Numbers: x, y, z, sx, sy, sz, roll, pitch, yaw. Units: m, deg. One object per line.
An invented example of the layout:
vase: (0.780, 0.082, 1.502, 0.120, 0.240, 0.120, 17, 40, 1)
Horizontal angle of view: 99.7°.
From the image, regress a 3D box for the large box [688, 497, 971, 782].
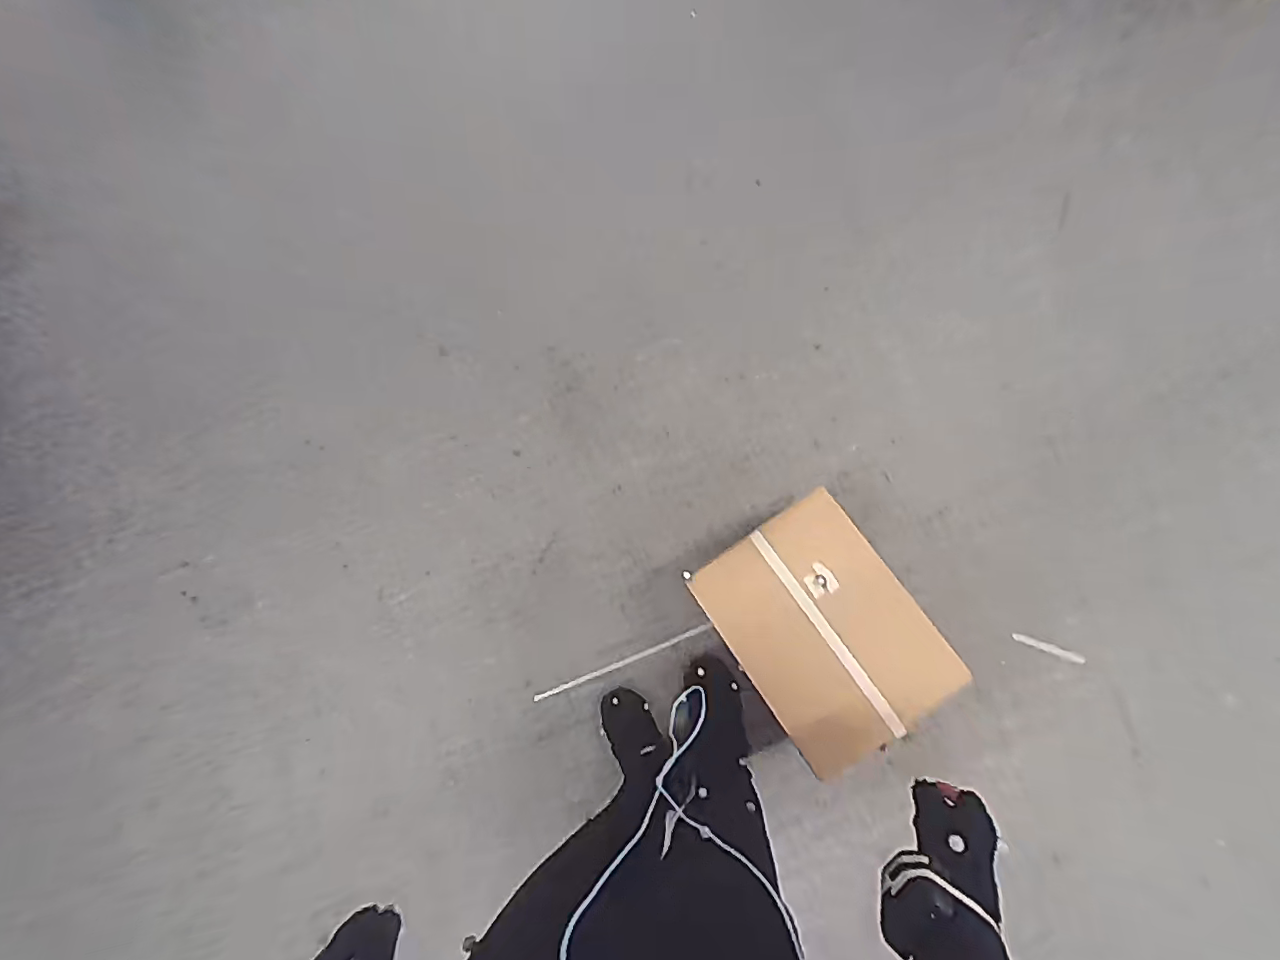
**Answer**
large box: (0.351, 0.299, 1.101, 0.320, 0.320, 0.408, -36, 75, 1)
